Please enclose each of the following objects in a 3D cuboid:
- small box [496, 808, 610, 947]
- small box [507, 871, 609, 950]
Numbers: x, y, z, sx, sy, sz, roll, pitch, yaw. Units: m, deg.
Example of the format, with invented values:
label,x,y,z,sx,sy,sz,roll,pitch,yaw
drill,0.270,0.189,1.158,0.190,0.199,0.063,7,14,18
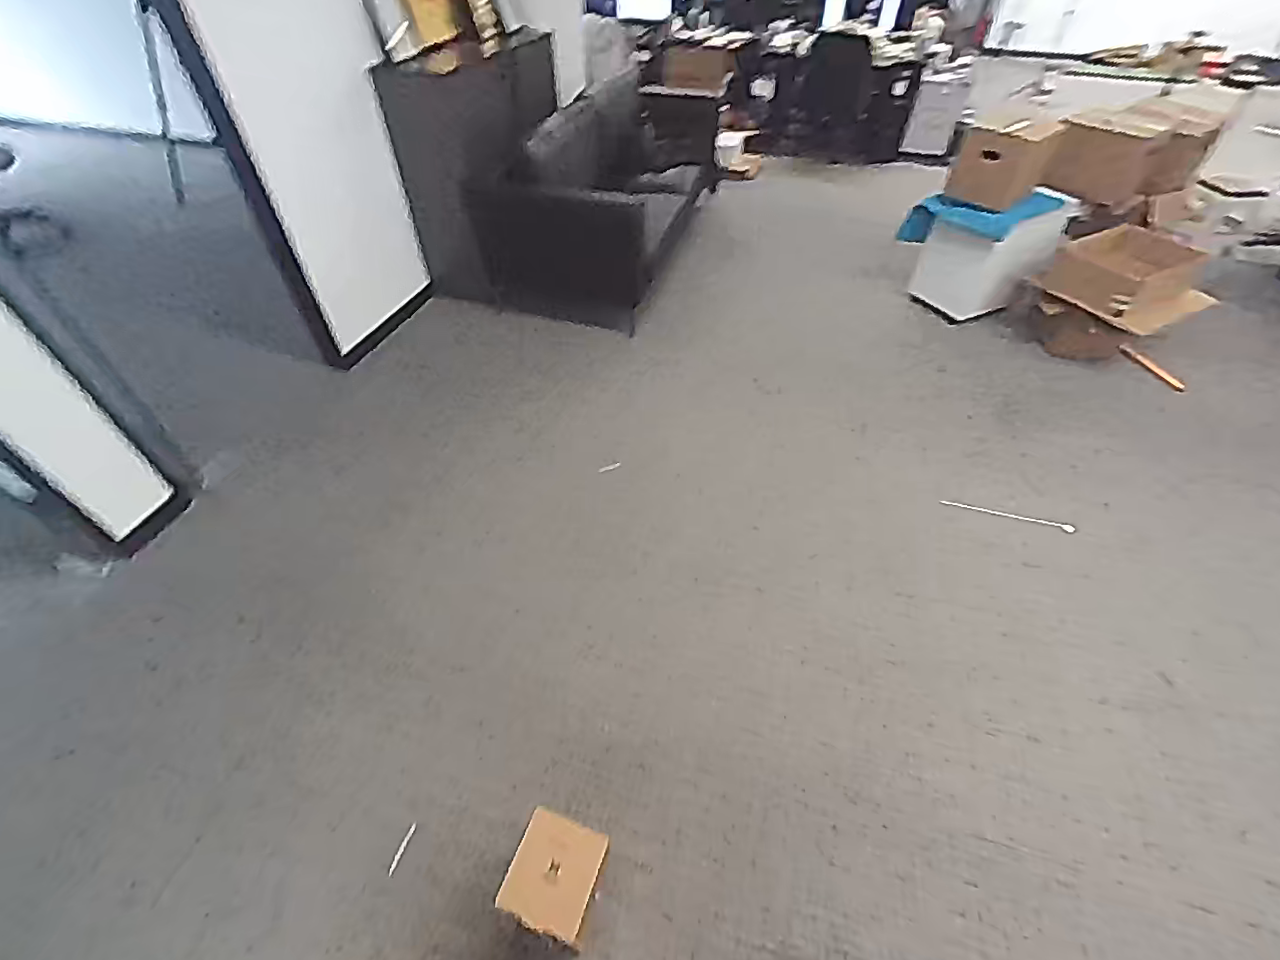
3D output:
label,x,y,z,sx,sy,sz,roll,pitch,yaw
small box,-0.164,0.814,1.104,0.168,0.176,0.179,15,48,14
small box,-0.173,0.927,1.223,0.168,0.176,0.179,14,49,12
